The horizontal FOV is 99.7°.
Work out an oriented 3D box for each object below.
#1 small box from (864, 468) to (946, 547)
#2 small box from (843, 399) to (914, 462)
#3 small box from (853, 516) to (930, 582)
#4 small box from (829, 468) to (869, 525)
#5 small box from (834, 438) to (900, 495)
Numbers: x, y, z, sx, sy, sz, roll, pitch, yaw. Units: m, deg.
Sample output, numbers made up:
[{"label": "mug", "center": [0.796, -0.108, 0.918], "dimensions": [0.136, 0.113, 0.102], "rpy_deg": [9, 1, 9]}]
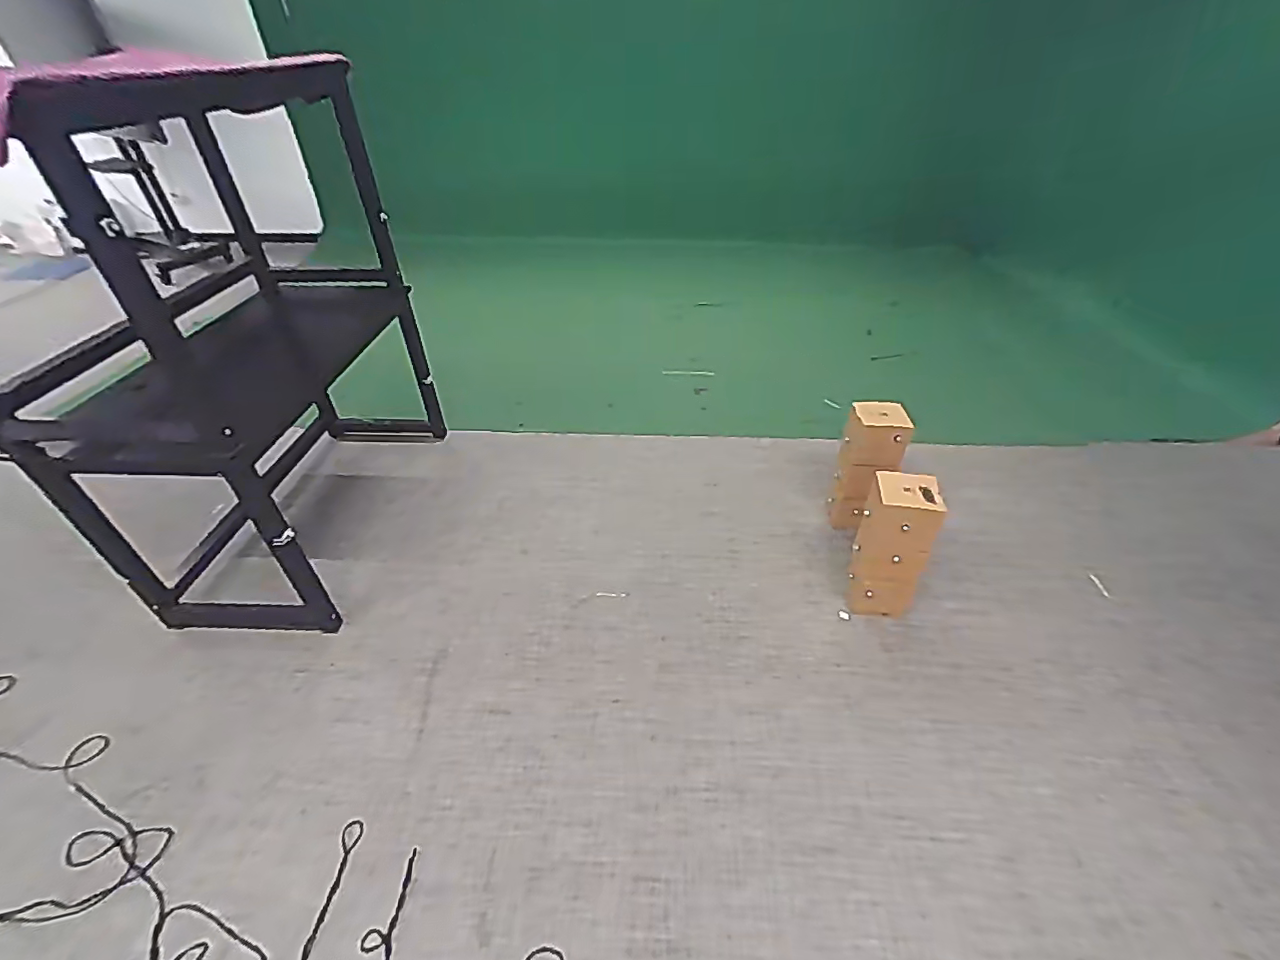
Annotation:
[{"label": "small box", "center": [0.803, 0.088, 1.657], "dimensions": [0.179, 0.176, 0.168], "rpy_deg": [6, 41, 11]}, {"label": "small box", "center": [0.863, -0.179, 1.971], "dimensions": [0.179, 0.176, 0.168], "rpy_deg": [2, 39, 3]}, {"label": "small box", "center": [0.813, 0.214, 1.762], "dimensions": [0.179, 0.176, 0.168], "rpy_deg": [6, 41, 9]}, {"label": "small box", "center": [0.870, 0.068, 2.186], "dimensions": [0.179, 0.176, 0.168], "rpy_deg": [4, 40, 6]}, {"label": "small box", "center": [0.868, -0.054, 2.079], "dimensions": [0.179, 0.176, 0.168], "rpy_deg": [1, 39, 4]}]
